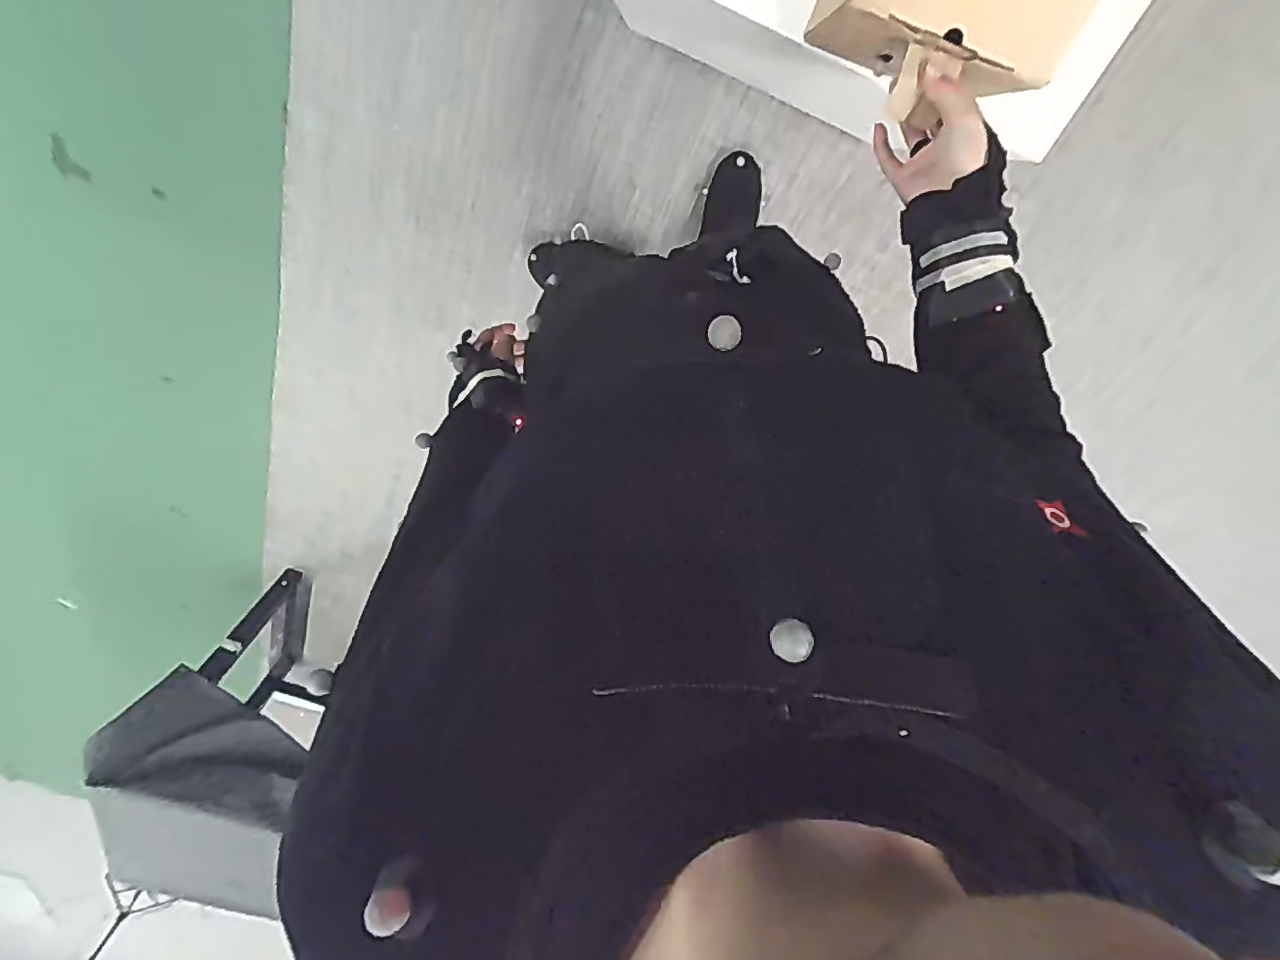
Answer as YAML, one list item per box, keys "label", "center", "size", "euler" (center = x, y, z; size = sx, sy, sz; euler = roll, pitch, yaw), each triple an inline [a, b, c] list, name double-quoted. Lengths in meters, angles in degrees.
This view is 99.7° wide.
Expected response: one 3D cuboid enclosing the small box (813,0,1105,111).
- label: "small box"
  center: [0.257, -0.418, 0.421]
  size: [0.168, 0.176, 0.179]
  euler: [17, 121, -6]
